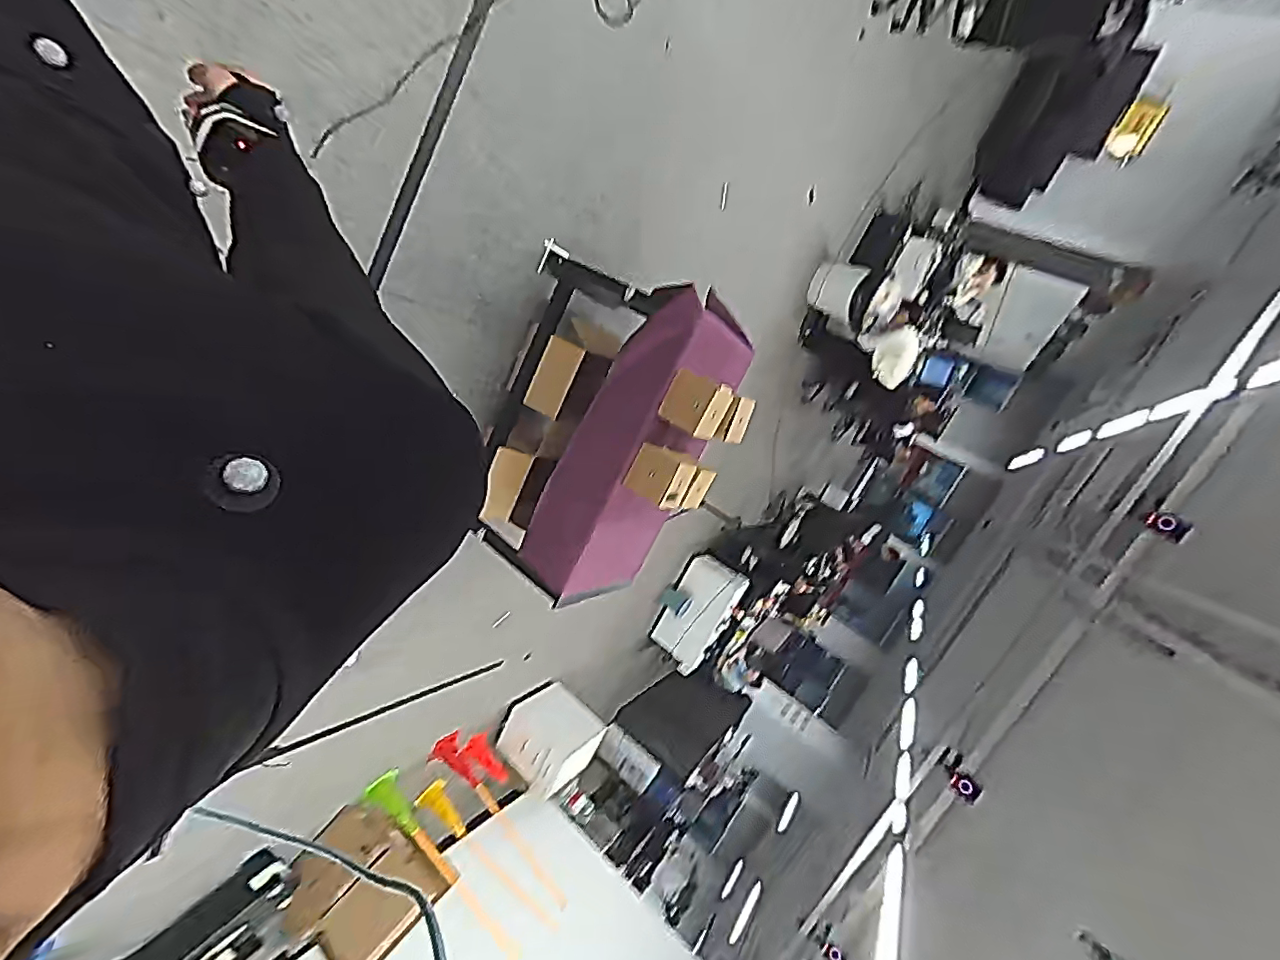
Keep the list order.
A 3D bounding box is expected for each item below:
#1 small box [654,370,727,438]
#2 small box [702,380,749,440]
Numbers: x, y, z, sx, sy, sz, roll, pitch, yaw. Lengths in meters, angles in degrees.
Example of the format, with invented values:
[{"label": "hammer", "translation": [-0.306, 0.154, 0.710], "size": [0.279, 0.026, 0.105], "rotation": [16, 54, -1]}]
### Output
[{"label": "small box", "translation": [0.176, -0.268, 1.905], "size": [0.168, 0.176, 0.179], "rotation": [2, 118, -62]}, {"label": "small box", "translation": [0.295, -0.275, 2.115], "size": [0.168, 0.176, 0.179], "rotation": [-1, 121, -61]}]
